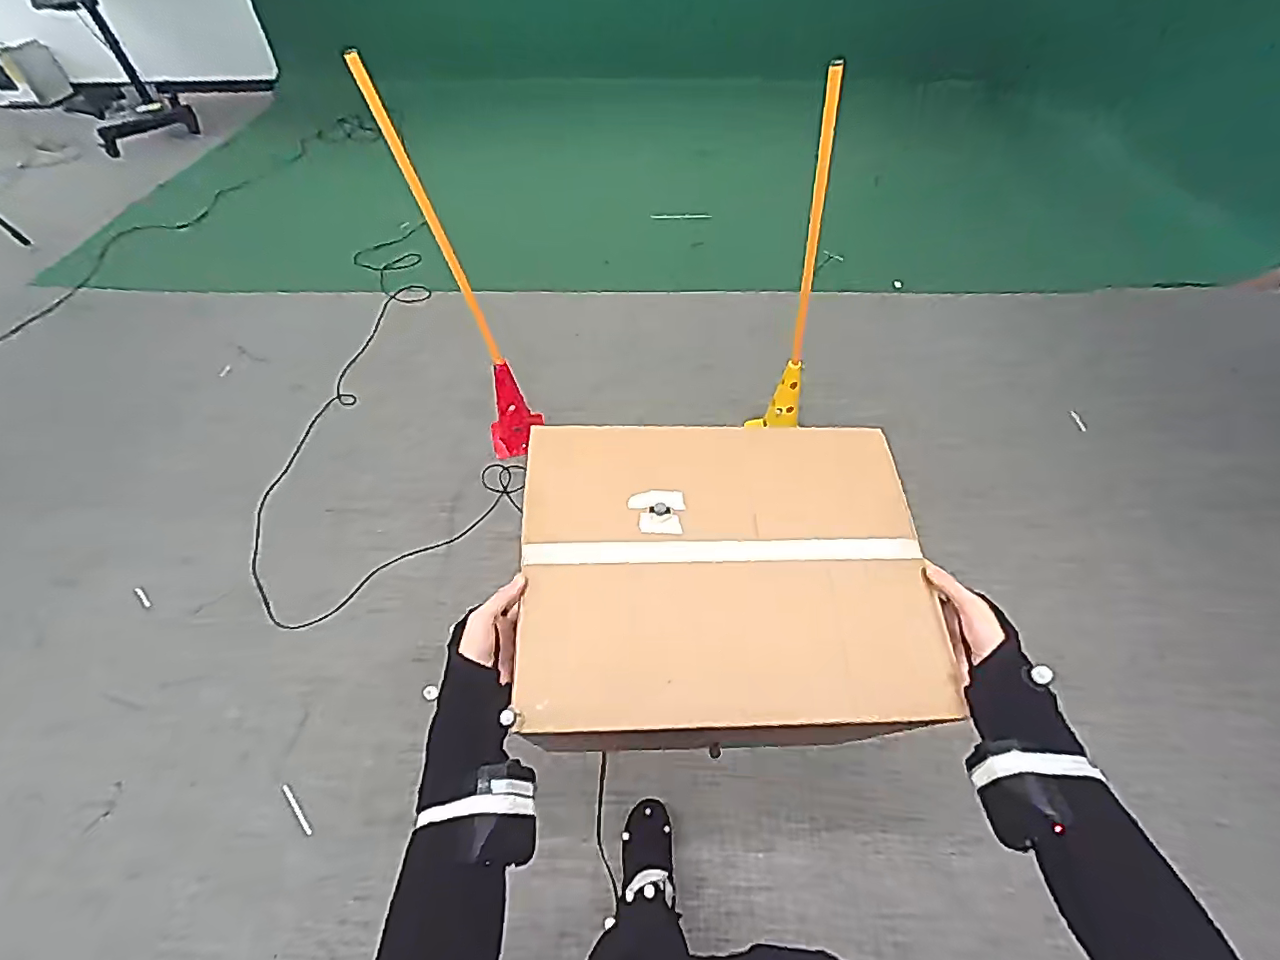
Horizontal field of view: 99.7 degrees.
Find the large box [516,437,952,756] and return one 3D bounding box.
[{"bbox_3d":[0.078,0.161,0.682,0.408,0.320,0.320,-1,59,-3],"label":"large box"}]
